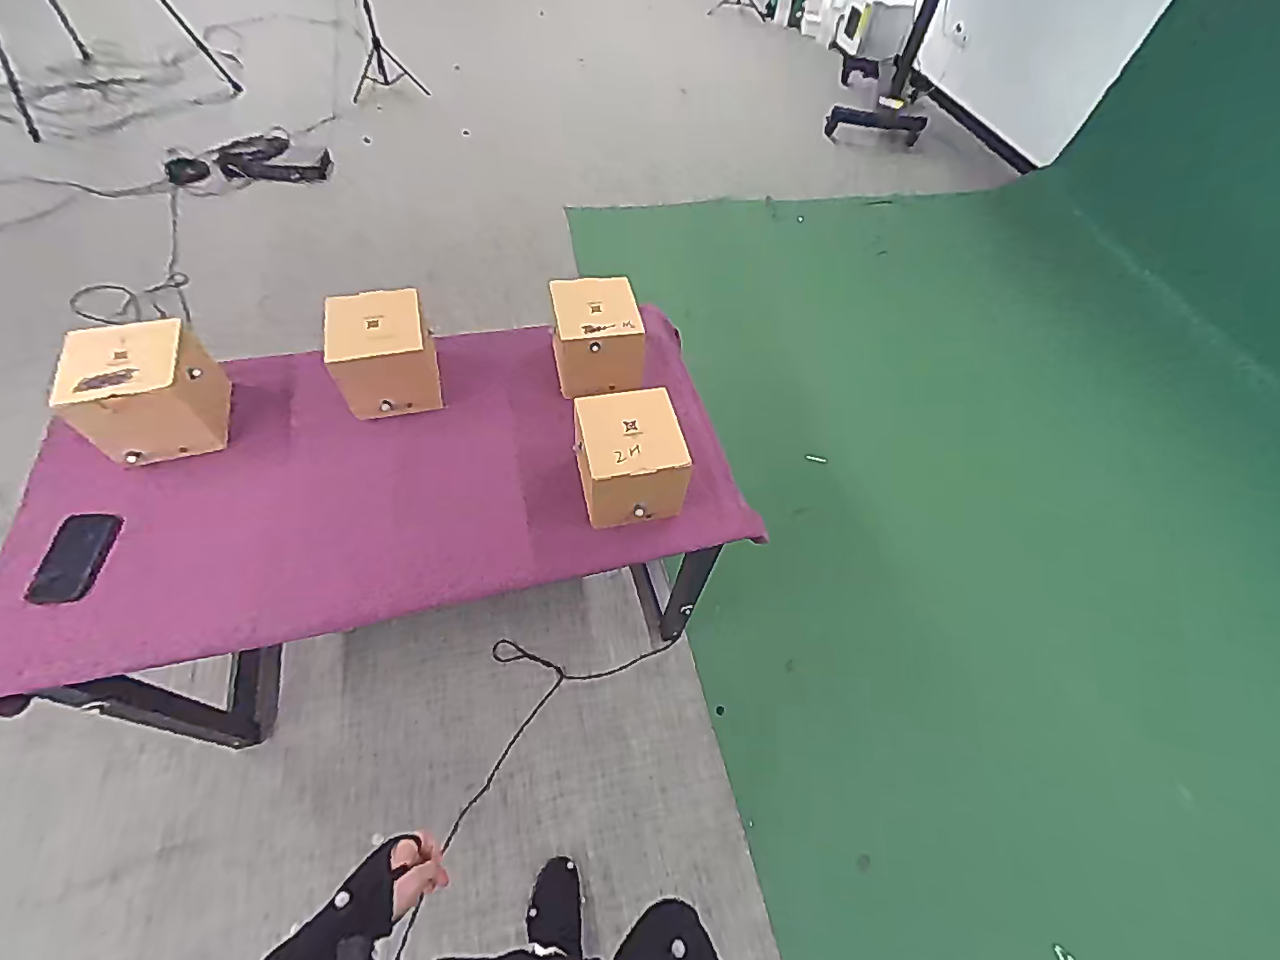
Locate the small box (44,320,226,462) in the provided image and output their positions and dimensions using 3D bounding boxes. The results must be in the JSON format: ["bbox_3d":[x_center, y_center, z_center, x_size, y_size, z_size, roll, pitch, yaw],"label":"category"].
[{"bbox_3d":[-0.865,-0.149,0.949,0.168,0.176,0.179,-14,58,-15],"label":"small box"}]

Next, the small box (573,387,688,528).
[{"bbox_3d":[-0.026,-0.038,0.959,0.168,0.176,0.179,-9,57,-10],"label":"small box"}]

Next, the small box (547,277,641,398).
[{"bbox_3d":[-0.101,-0.296,1.130,0.168,0.176,0.179,-9,57,-11],"label":"small box"}]

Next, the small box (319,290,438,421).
[{"bbox_3d":[-0.501,-0.240,1.051,0.168,0.176,0.179,-11,59,-12],"label":"small box"}]
